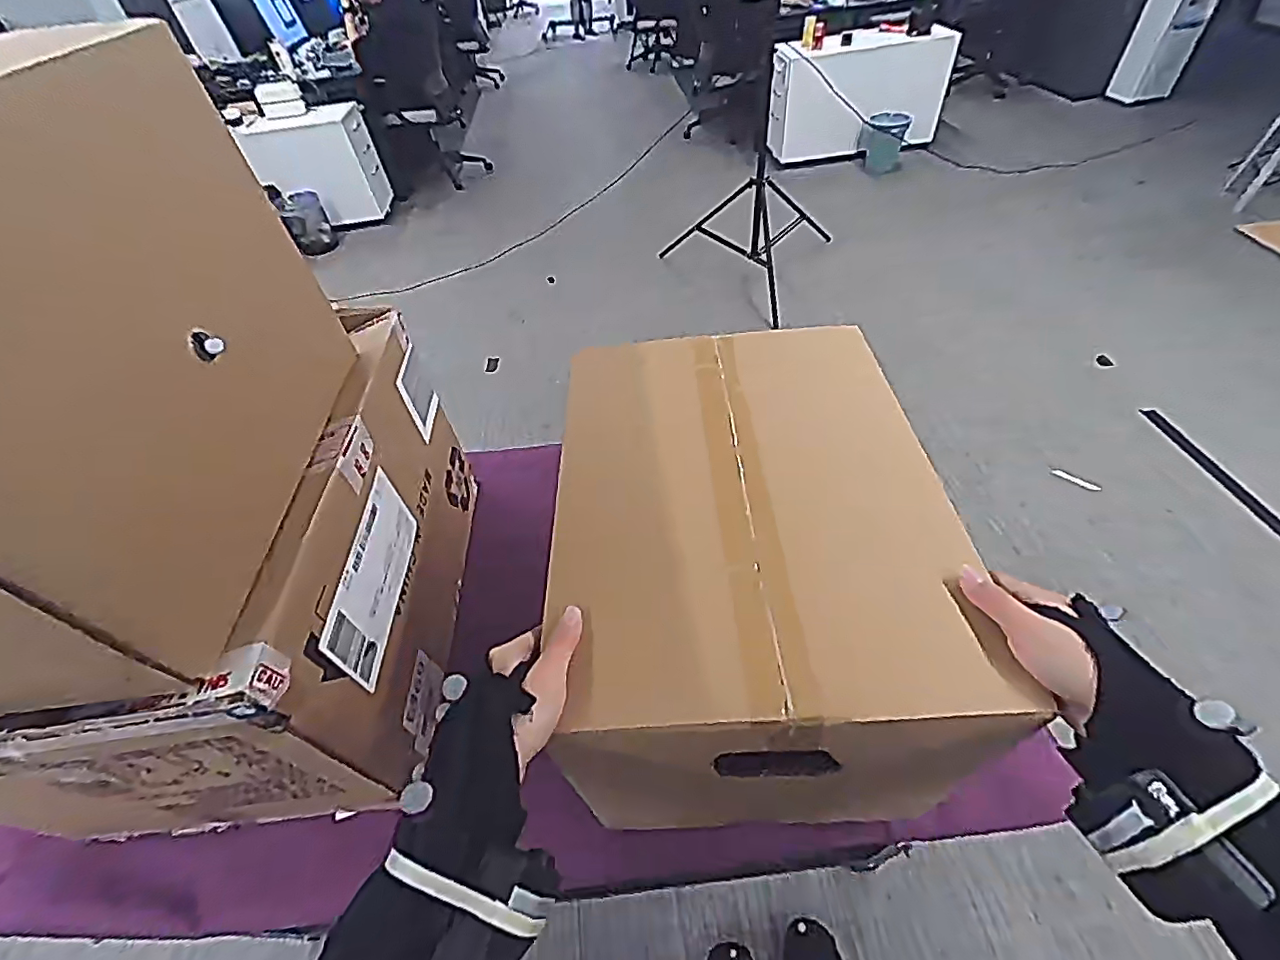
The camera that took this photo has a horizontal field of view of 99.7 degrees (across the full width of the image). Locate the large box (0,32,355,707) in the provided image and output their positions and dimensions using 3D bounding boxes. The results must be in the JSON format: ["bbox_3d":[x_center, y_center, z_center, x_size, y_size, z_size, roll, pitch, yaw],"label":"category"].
[{"bbox_3d":[-0.474,-0.085,0.404,0.320,0.320,0.408,-9,48,1],"label":"large box"}]
